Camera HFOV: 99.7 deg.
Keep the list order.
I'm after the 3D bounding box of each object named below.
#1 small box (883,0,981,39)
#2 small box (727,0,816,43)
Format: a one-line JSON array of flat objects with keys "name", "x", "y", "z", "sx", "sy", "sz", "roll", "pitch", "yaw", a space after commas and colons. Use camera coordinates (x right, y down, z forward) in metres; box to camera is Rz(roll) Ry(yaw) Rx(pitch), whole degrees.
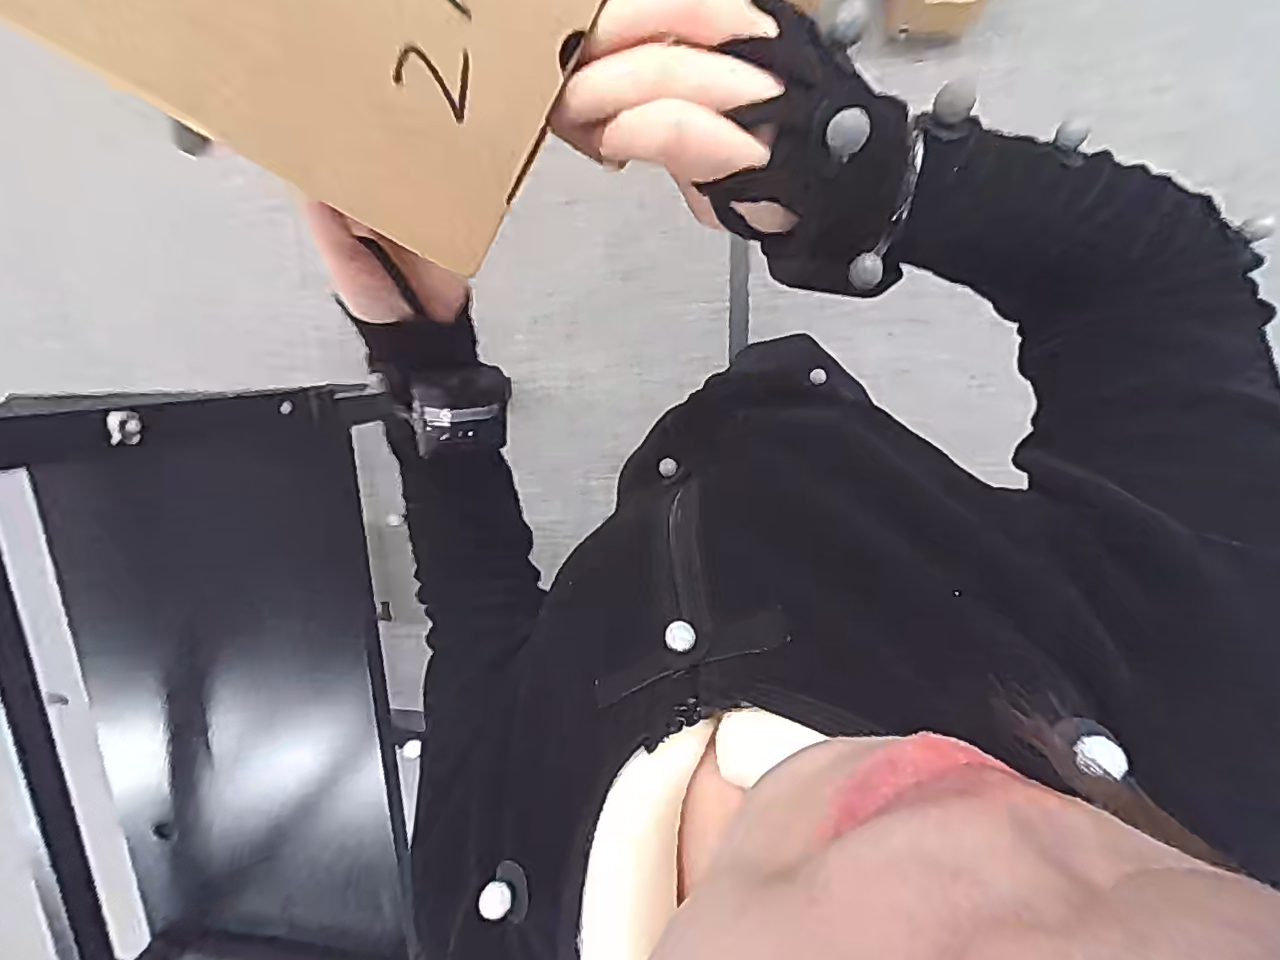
[{"name": "small box", "x": 0.611, "y": -1.041, "z": 1.102, "sx": 0.168, "sy": 0.176, "sz": 0.179, "roll": 5, "pitch": 102, "yaw": 7}, {"name": "small box", "x": 0.282, "y": -1.065, "z": 1.146, "sx": 0.179, "sy": 0.176, "sz": 0.168, "roll": 5, "pitch": 103, "yaw": 7}]
